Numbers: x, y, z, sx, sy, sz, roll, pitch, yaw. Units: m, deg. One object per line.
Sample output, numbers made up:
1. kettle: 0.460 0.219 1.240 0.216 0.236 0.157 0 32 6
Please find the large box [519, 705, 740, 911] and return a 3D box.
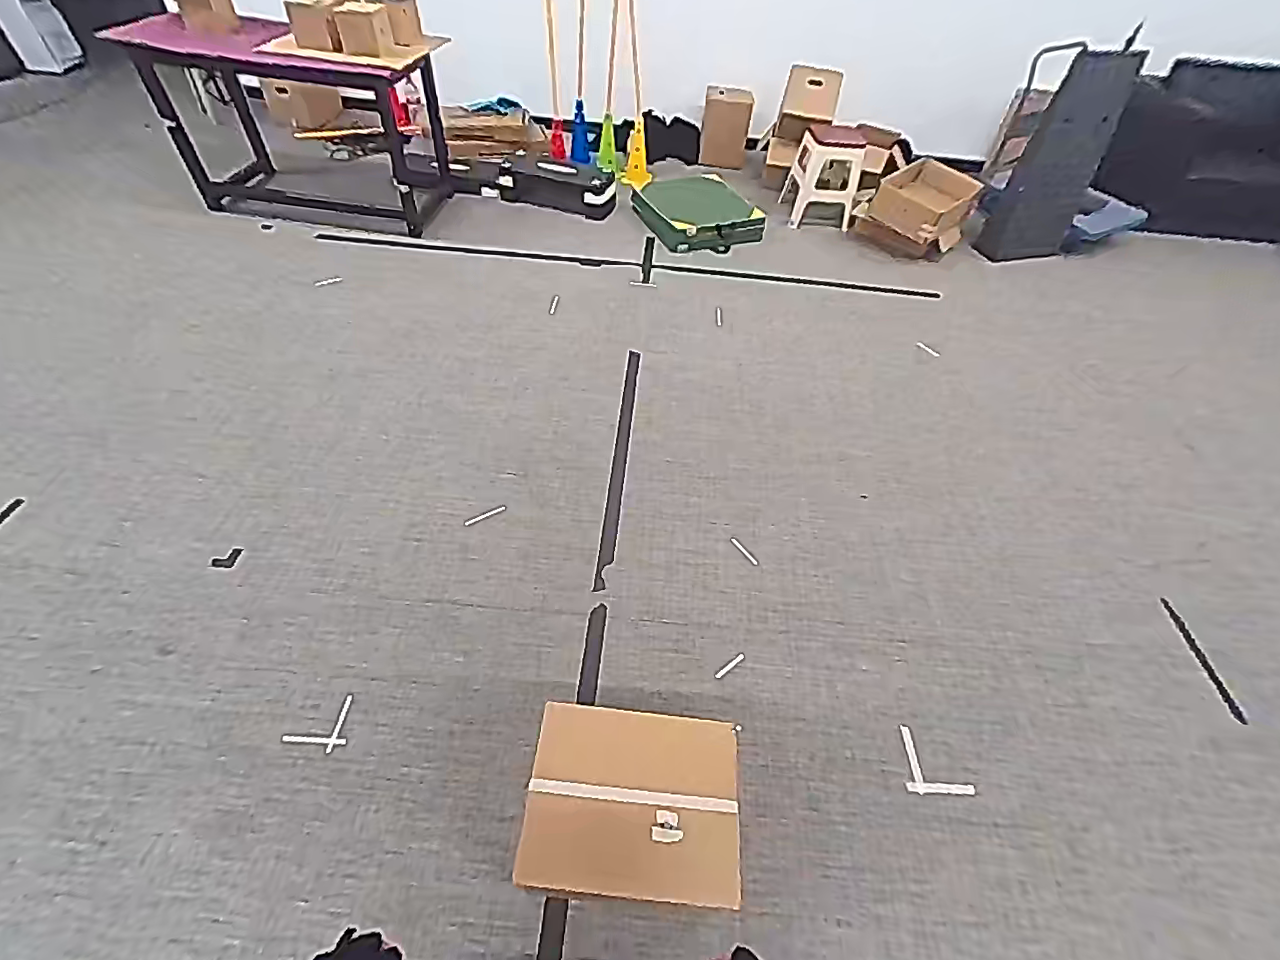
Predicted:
1. large box: -0.021 0.710 1.164 0.408 0.320 0.320 8 51 0
